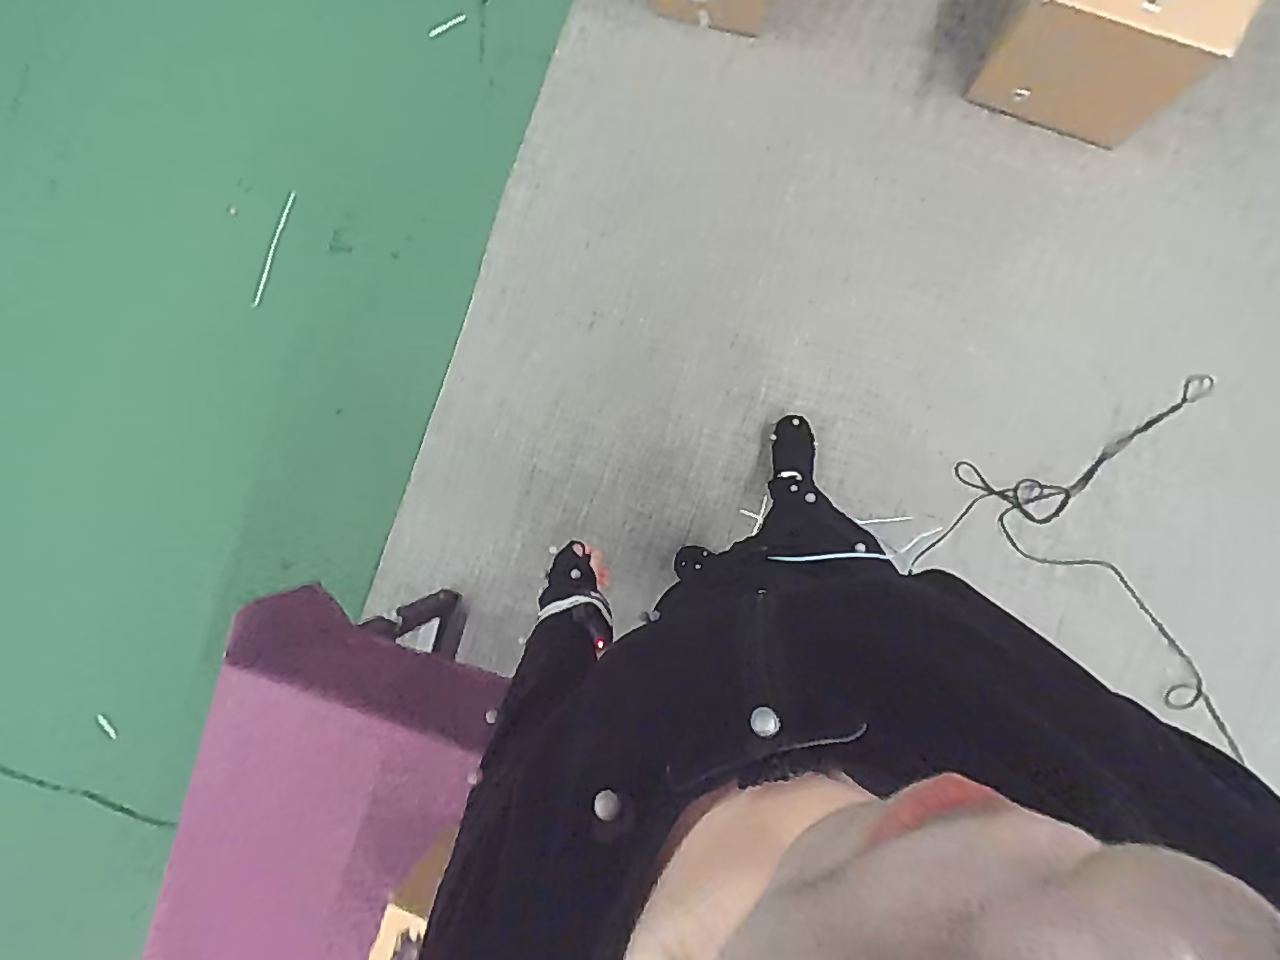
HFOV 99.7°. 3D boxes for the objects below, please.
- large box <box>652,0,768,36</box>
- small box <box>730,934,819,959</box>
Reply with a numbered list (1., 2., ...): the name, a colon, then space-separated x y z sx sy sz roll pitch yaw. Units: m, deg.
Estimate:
1. large box: 0.217 -1.457 1.366 0.320 0.320 0.408 18 90 6
2. small box: 0.185 0.732 0.679 0.179 0.176 0.168 18 92 5
